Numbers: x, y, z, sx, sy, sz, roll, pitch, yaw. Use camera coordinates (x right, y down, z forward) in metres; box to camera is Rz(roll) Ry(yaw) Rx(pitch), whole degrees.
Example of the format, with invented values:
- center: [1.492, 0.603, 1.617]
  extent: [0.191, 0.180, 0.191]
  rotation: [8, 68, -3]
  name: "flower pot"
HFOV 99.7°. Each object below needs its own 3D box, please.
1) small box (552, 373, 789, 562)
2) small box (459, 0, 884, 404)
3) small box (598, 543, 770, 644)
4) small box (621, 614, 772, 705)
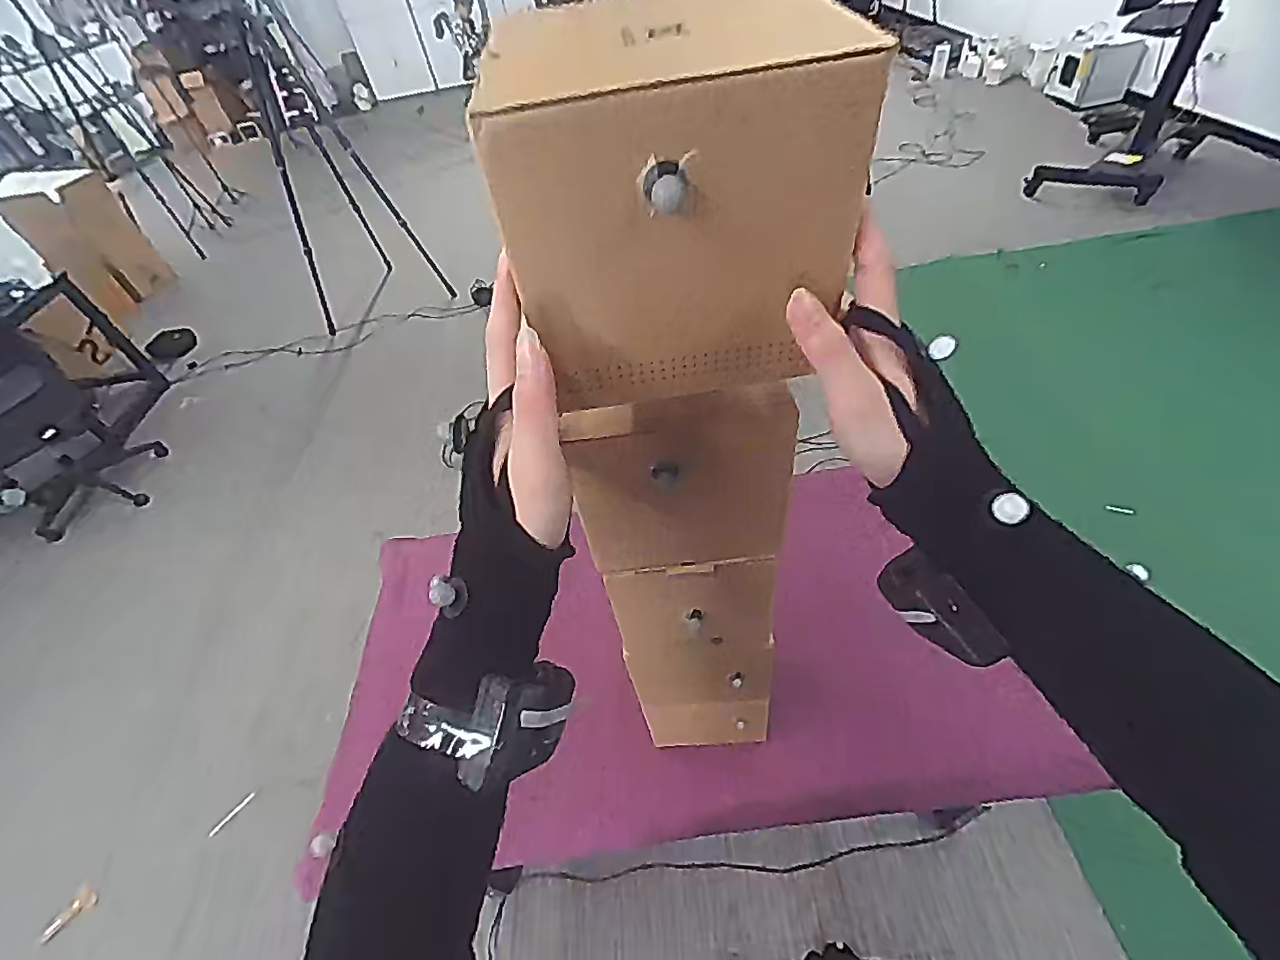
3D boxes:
- center: [0.029, -0.039, 0.499]
  extent: [0.179, 0.176, 0.168]
  rotation: [-6, 46, 3]
  name: "small box"
- center: [0.013, -0.169, 0.327]
  extent: [0.179, 0.176, 0.168]
  rotation: [-9, 51, 2]
  name: "small box"
- center: [0.052, 0.075, 0.617]
  extent: [0.168, 0.176, 0.179]
  rotation: [-5, 47, 5]
  name: "small box"
- center: [0.075, 0.190, 0.730]
  extent: [0.179, 0.176, 0.168]
  rotation: [-6, 46, 6]
  name: "small box"
